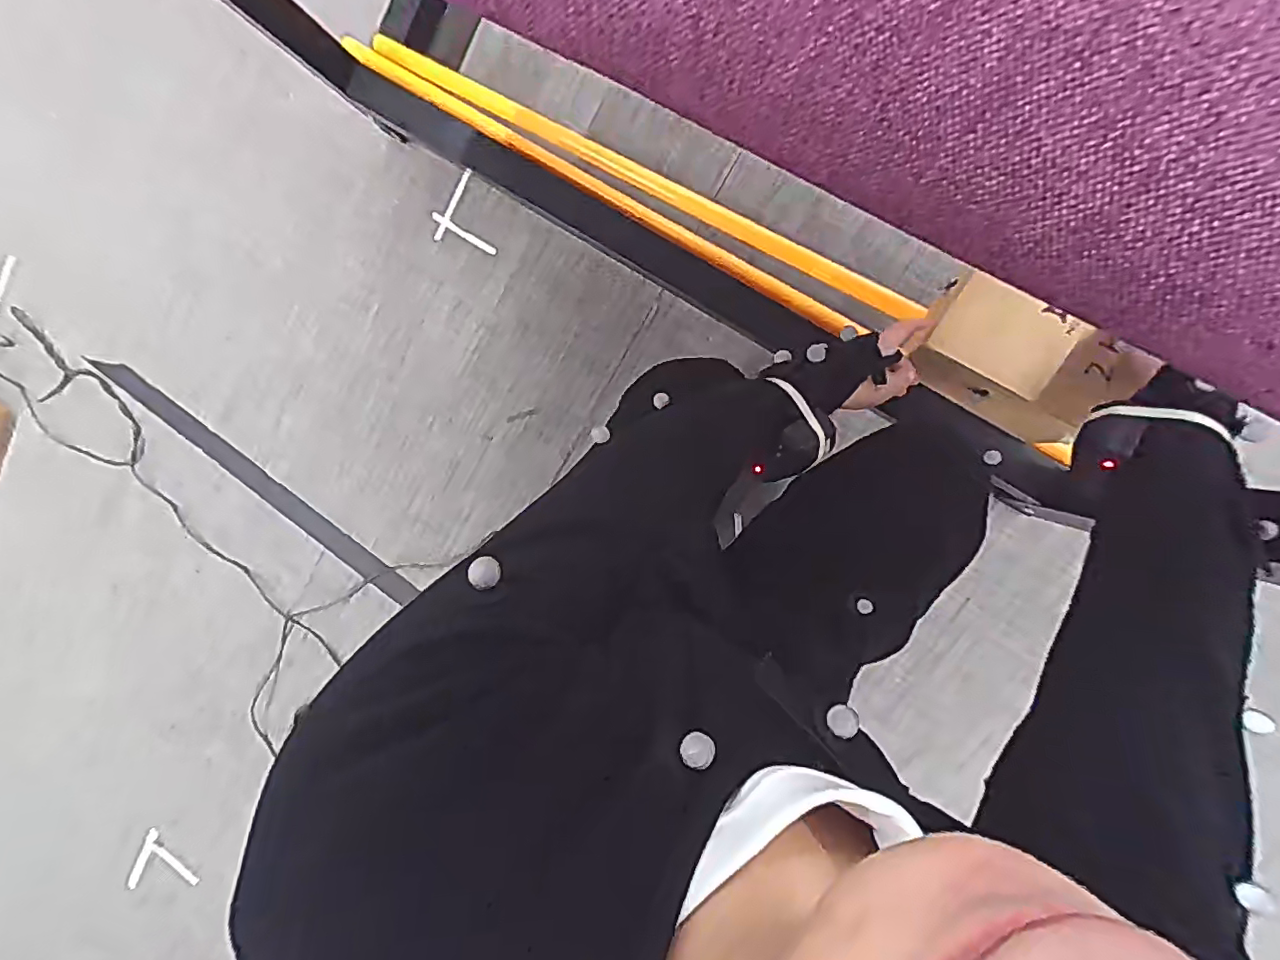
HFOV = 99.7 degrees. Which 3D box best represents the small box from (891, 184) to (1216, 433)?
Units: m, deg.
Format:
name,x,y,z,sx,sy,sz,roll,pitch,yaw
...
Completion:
name,x,y,z,sx,sy,sz,roll,pitch,yaw
small box,0.394,-0.157,0.561,0.179,0.176,0.168,34,101,9
